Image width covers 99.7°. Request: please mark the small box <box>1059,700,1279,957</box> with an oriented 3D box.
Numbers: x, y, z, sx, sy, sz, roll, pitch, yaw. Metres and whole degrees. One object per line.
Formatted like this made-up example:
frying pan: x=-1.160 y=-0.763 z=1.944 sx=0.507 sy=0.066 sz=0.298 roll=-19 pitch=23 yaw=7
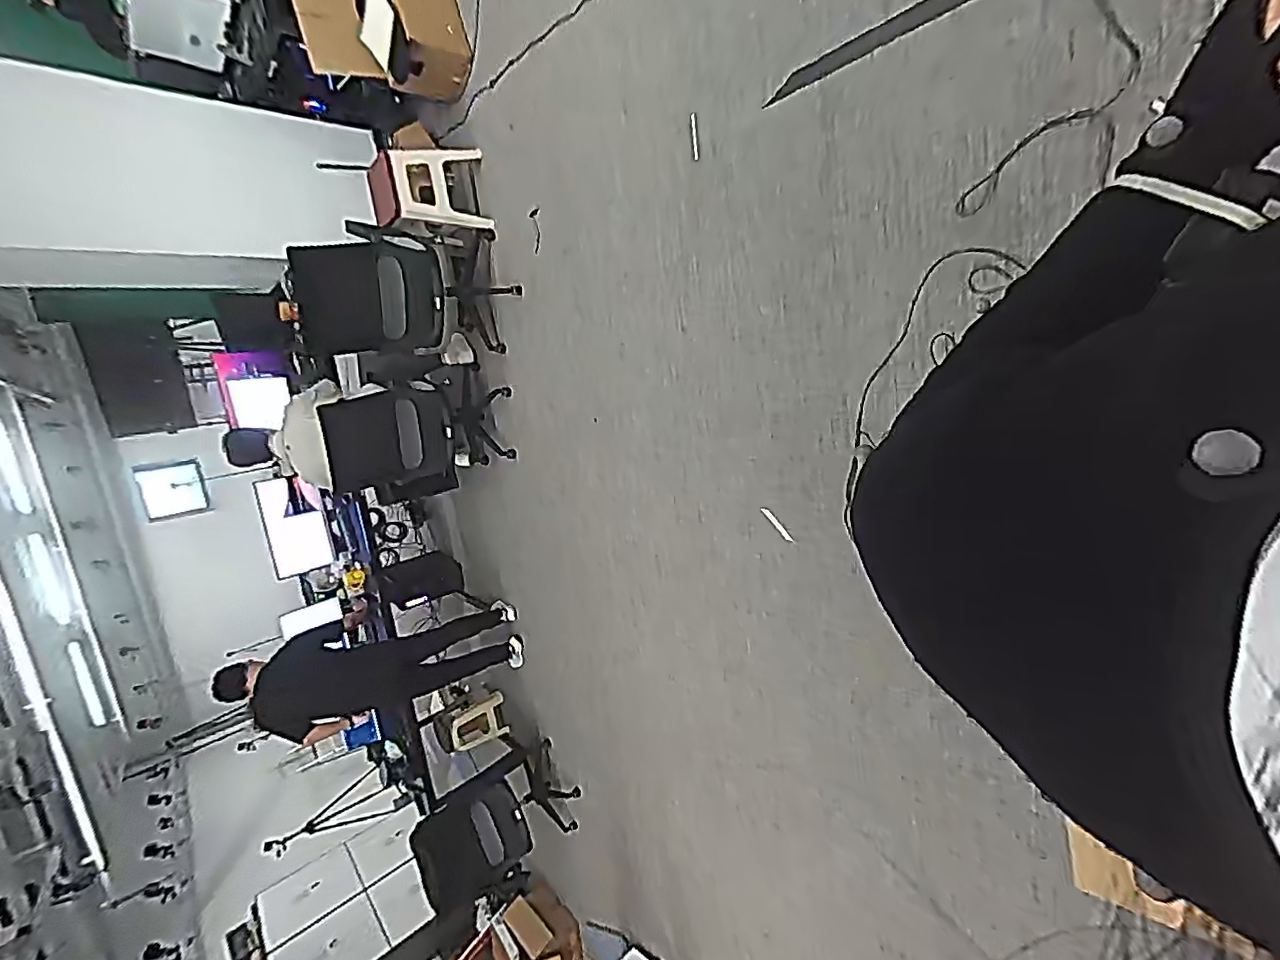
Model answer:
small box: x=0.635 y=0.387 z=0.644 sx=0.179 sy=0.176 sz=0.168 roll=-6 pitch=94 yaw=51
